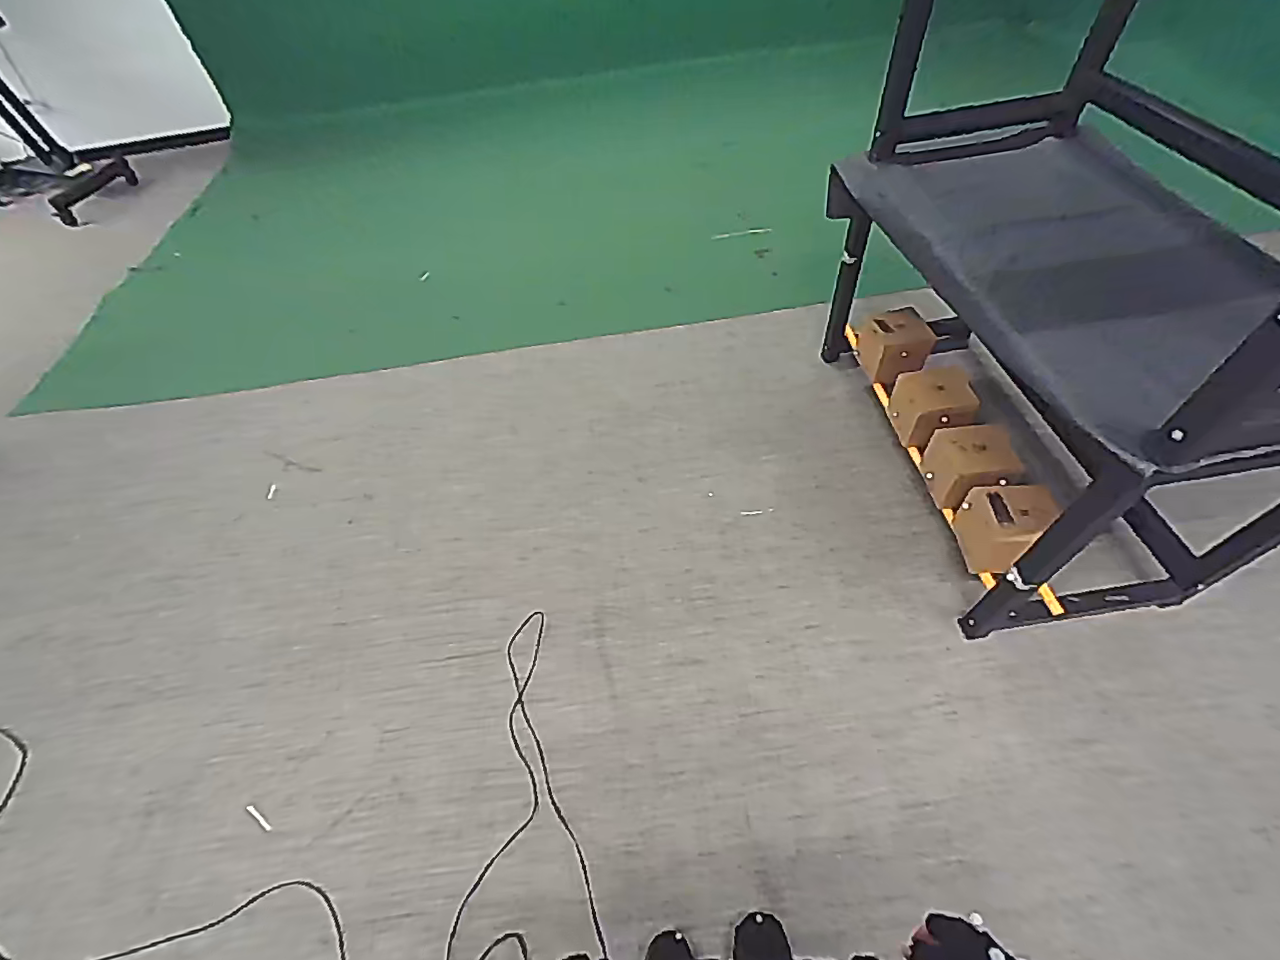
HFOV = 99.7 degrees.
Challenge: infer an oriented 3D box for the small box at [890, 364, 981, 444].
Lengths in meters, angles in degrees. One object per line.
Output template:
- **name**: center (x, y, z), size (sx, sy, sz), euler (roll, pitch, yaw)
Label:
- **small box**: center (0.905, -0.232, 1.673), size (0.179, 0.176, 0.168), euler (-9, 54, 3)
